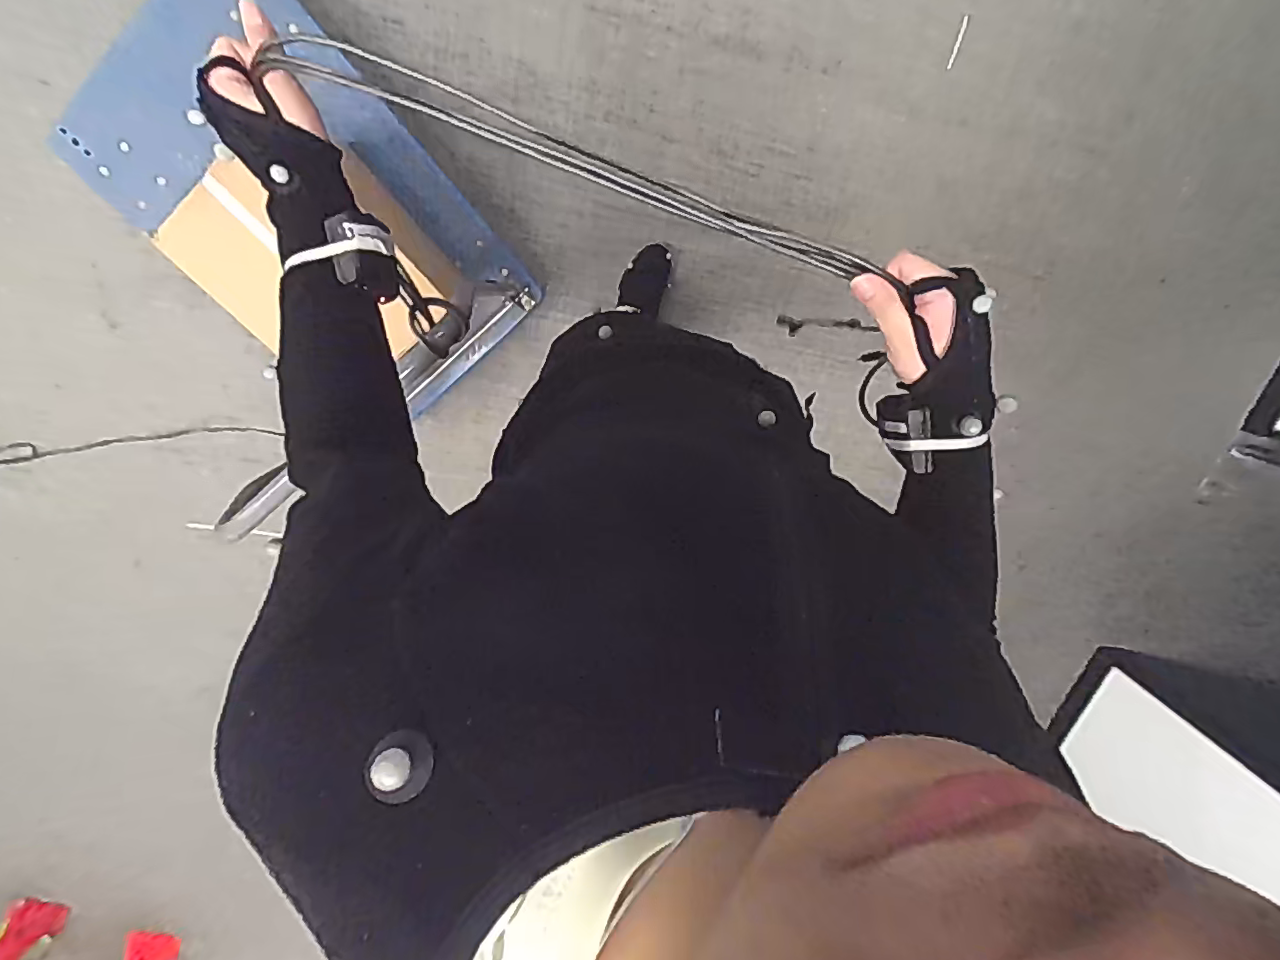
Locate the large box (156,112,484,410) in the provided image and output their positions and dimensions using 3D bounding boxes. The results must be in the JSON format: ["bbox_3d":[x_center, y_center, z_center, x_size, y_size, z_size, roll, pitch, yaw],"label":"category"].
[{"bbox_3d":[-0.589,-0.415,1.087,0.320,0.320,0.408,-39,110,10],"label":"large box"}]
